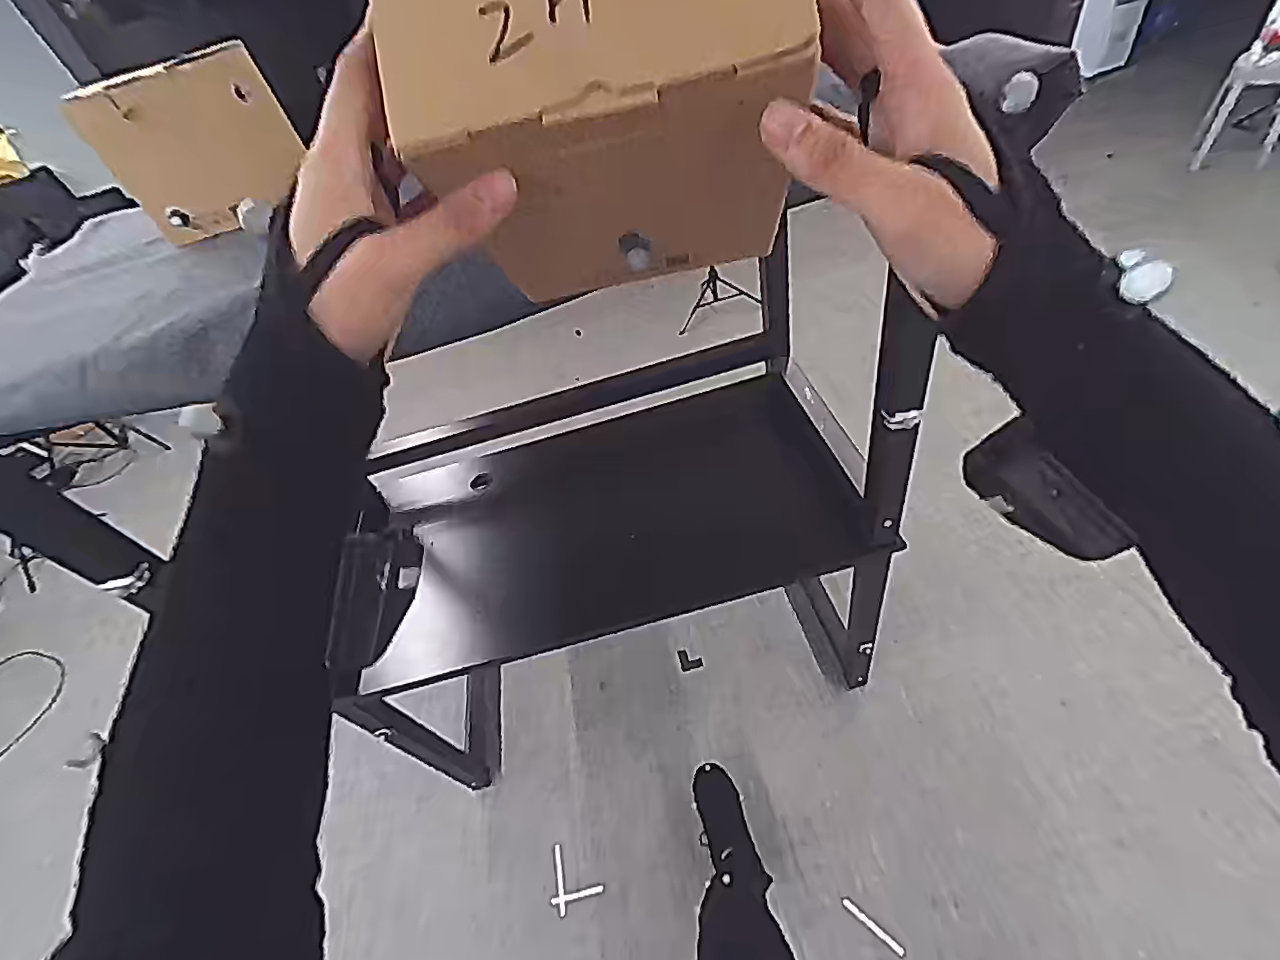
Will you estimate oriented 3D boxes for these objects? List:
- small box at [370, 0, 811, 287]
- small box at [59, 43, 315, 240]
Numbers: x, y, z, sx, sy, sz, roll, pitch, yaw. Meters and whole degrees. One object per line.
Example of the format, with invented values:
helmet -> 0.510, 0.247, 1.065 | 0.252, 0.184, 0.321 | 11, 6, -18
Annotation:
small box -> -0.020, -0.229, 0.286 | 0.168, 0.176, 0.179 | -8, 87, 7
small box -> -0.573, -0.442, 0.719 | 0.168, 0.176, 0.179 | -16, 45, 2
